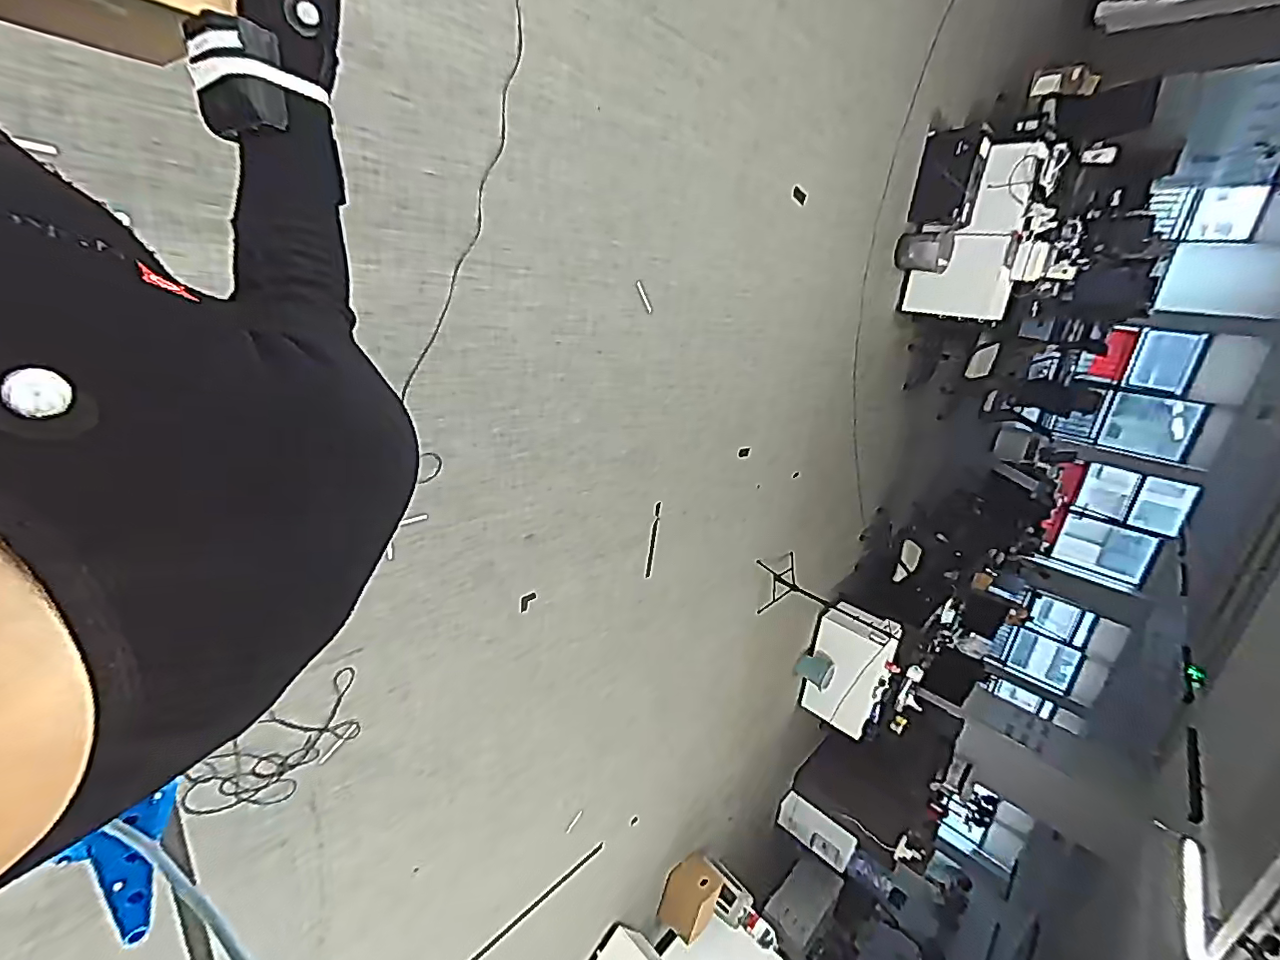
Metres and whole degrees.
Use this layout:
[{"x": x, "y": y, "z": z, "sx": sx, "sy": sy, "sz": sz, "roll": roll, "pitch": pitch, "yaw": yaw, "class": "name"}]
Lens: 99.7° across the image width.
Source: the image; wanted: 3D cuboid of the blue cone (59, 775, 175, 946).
[{"x": -1.179, "y": 0.883, "z": 1.240, "sx": 0.193, "sy": 0.380, "sz": 0.192, "roll": 17, "pitch": 96, "yaw": -50, "class": "blue cone"}]

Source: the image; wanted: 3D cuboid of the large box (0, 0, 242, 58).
[{"x": -0.509, "y": -0.488, "z": 0.282, "sx": 0.408, "sy": 0.320, "sz": 0.320, "roll": -15, "pitch": 123, "yaw": -46, "class": "large box"}]
